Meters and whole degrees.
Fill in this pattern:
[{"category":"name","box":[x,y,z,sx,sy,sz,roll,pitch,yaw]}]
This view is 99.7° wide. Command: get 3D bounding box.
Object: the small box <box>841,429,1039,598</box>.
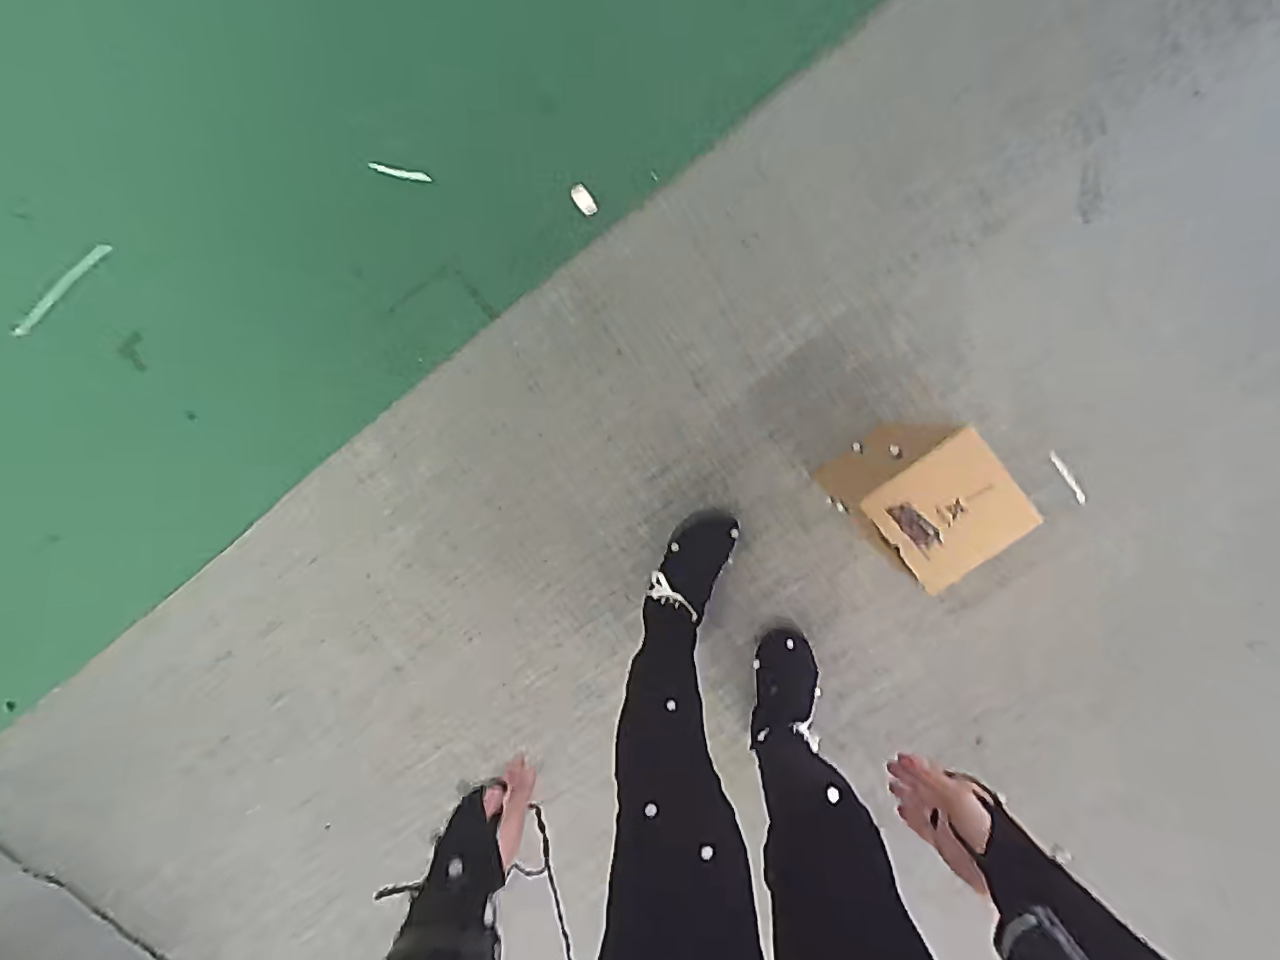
[{"category":"small box","box":[0.422,0.040,0.804,0.179,0.176,0.168,-38,92,8]}]
